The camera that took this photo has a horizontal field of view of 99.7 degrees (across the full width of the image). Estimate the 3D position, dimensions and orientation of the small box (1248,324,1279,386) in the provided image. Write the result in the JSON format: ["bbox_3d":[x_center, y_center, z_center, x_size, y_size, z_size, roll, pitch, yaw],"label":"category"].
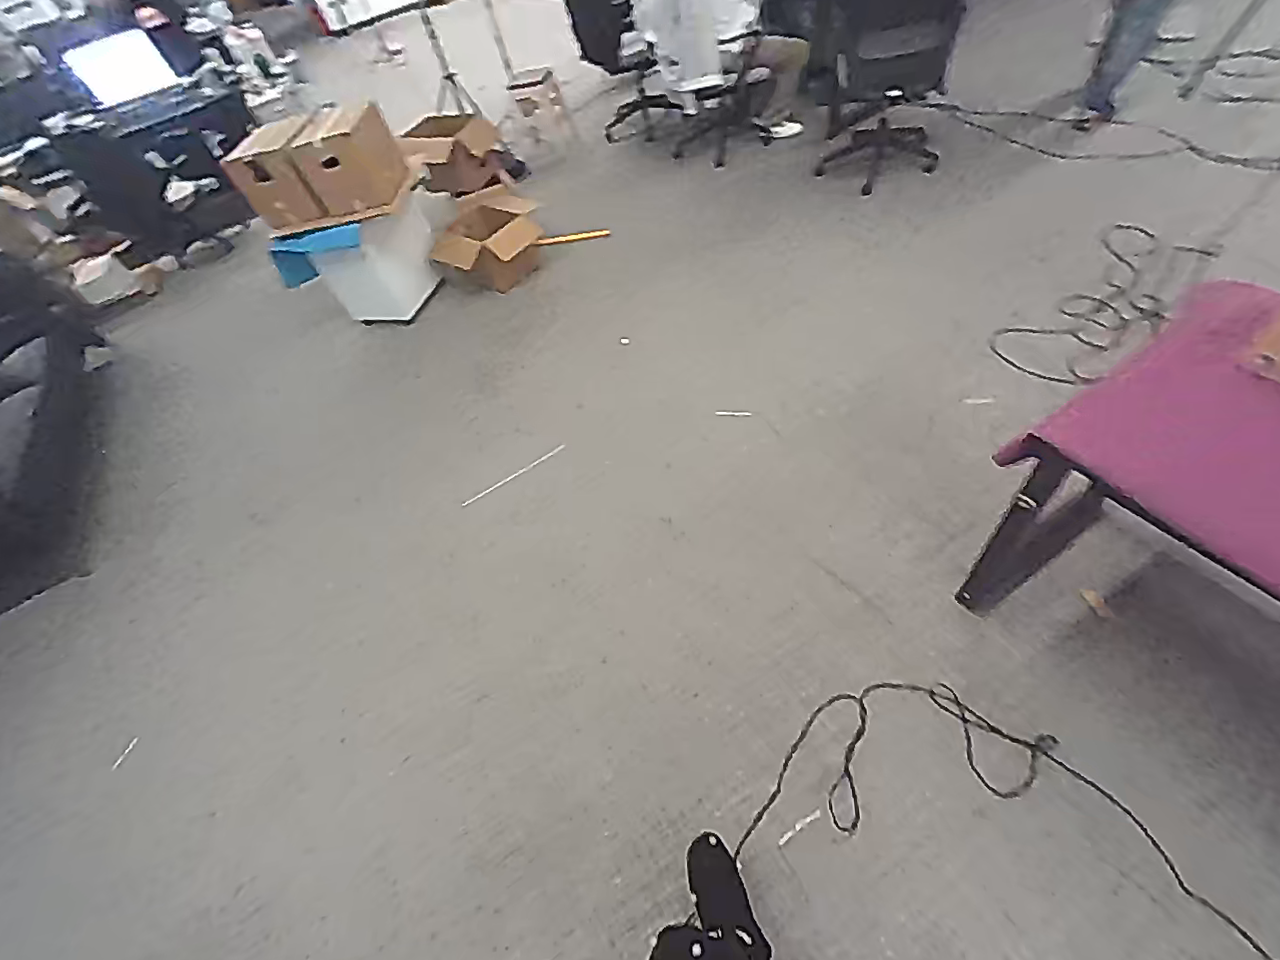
[{"bbox_3d":[1.208,-0.240,0.910,0.179,0.176,0.168,-30,54,-9],"label":"small box"}]
